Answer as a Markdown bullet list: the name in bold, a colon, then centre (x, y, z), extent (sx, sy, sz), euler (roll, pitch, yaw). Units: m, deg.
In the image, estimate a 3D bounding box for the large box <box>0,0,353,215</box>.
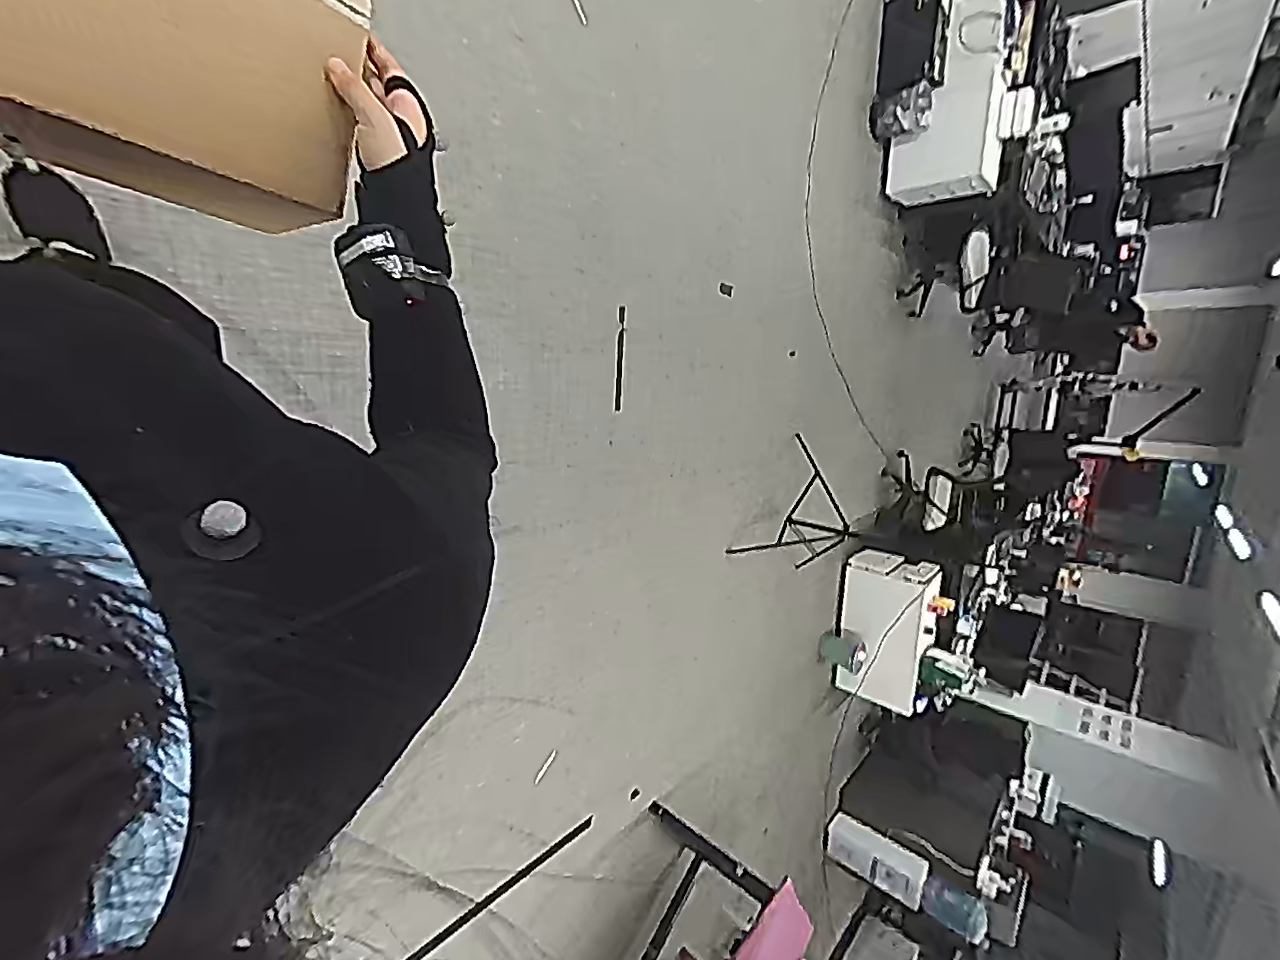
- **large box**: centre (-0.475, -0.436, 0.411), extent (0.408, 0.320, 0.320), euler (3, 103, -45)
